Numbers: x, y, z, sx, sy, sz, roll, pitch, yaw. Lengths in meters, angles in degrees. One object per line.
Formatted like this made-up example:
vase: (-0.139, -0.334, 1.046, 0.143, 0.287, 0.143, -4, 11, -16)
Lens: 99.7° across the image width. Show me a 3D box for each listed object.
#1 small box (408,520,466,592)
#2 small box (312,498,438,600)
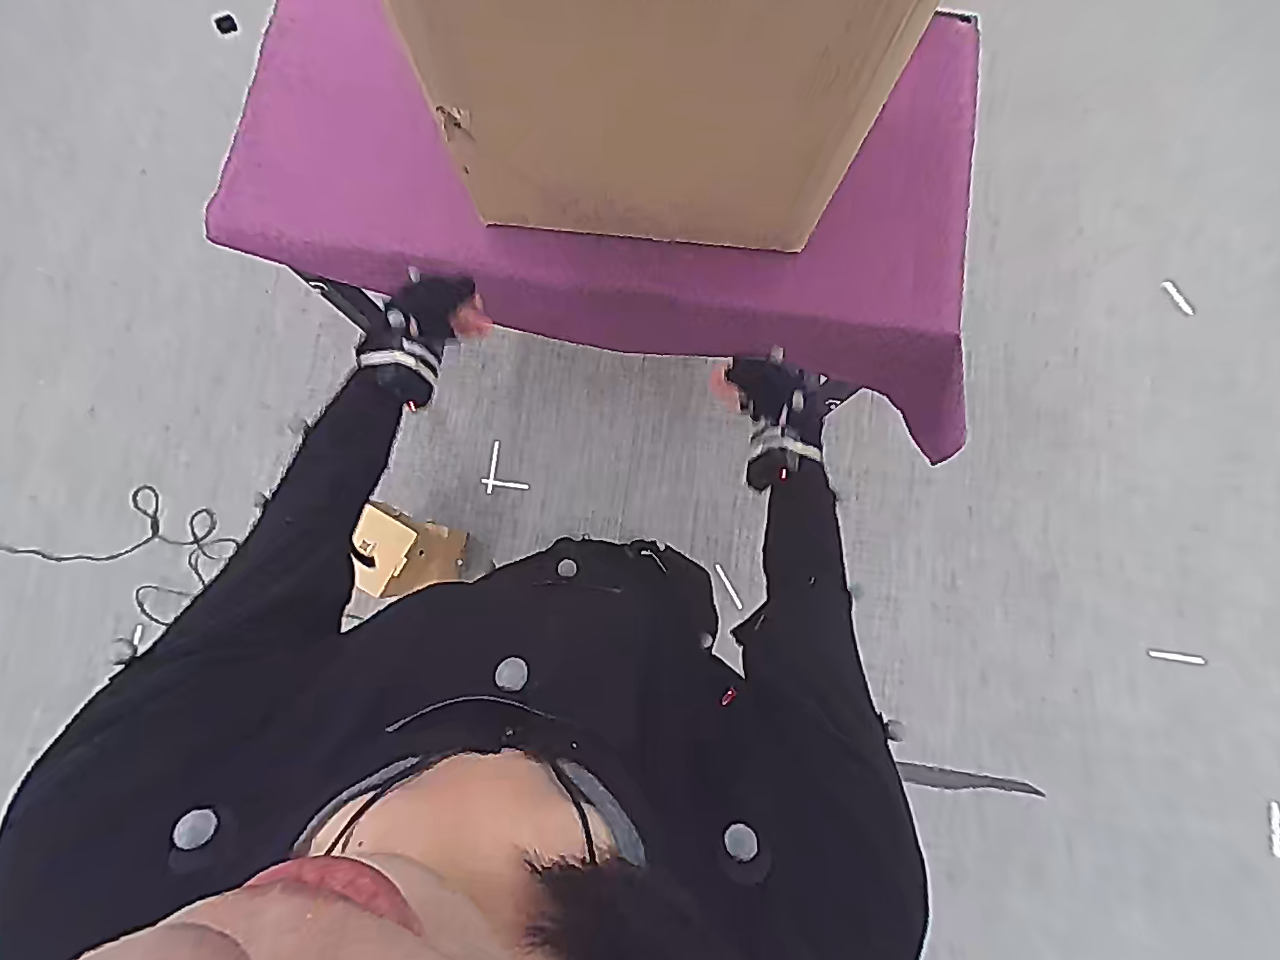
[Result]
small box: (-0.583, 0.196, 1.426, 0.179, 0.176, 0.168, 10, 82, 0)
small box: (-0.606, 0.161, 1.266, 0.179, 0.176, 0.168, 29, 81, 4)
